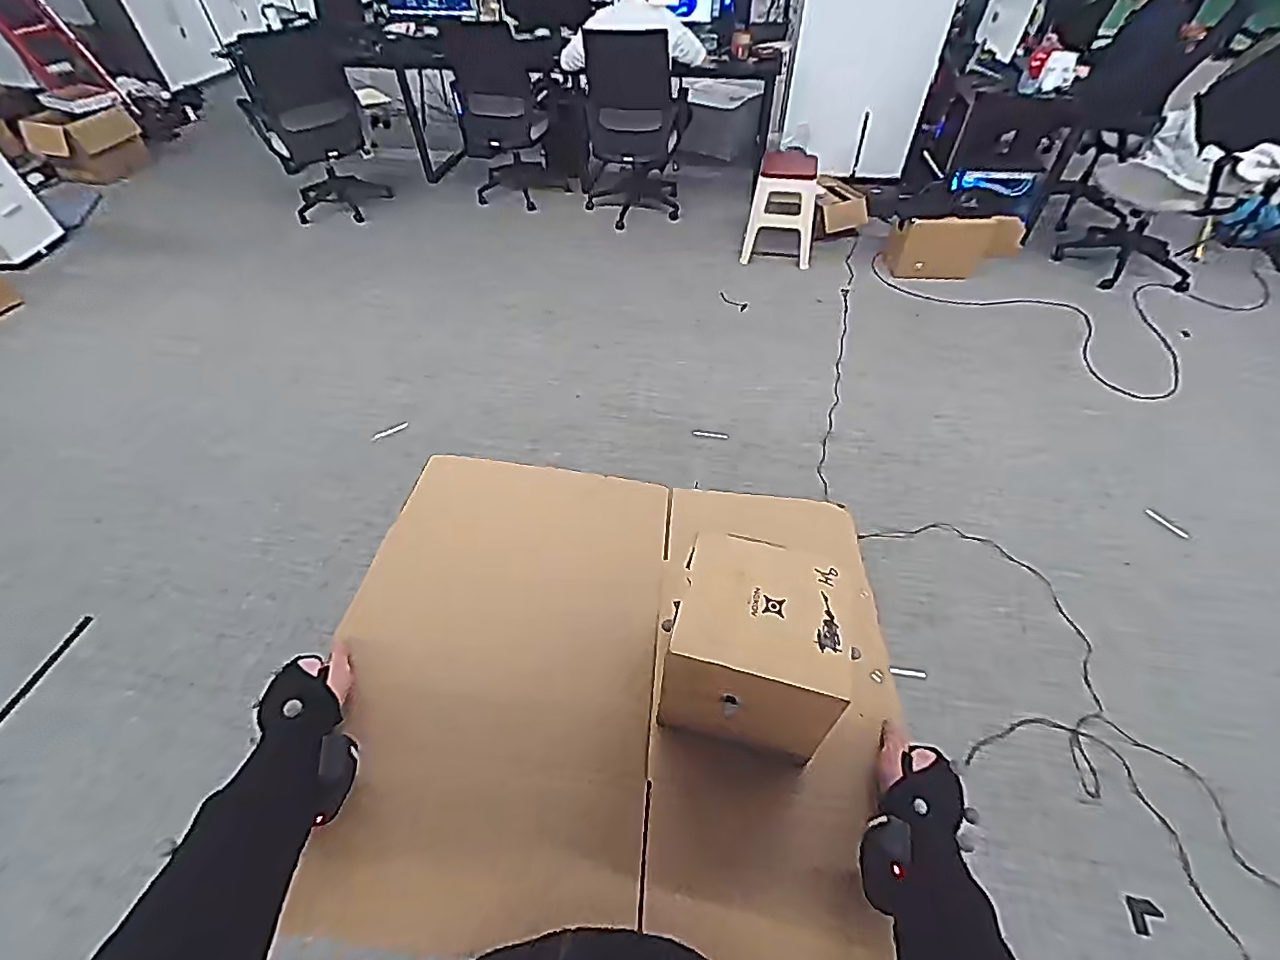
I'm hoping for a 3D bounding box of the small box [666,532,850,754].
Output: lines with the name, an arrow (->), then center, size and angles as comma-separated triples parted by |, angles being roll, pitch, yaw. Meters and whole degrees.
small box -> 0.131, 0.189, 0.625 | 0.179, 0.176, 0.168 | 11, 45, 10
